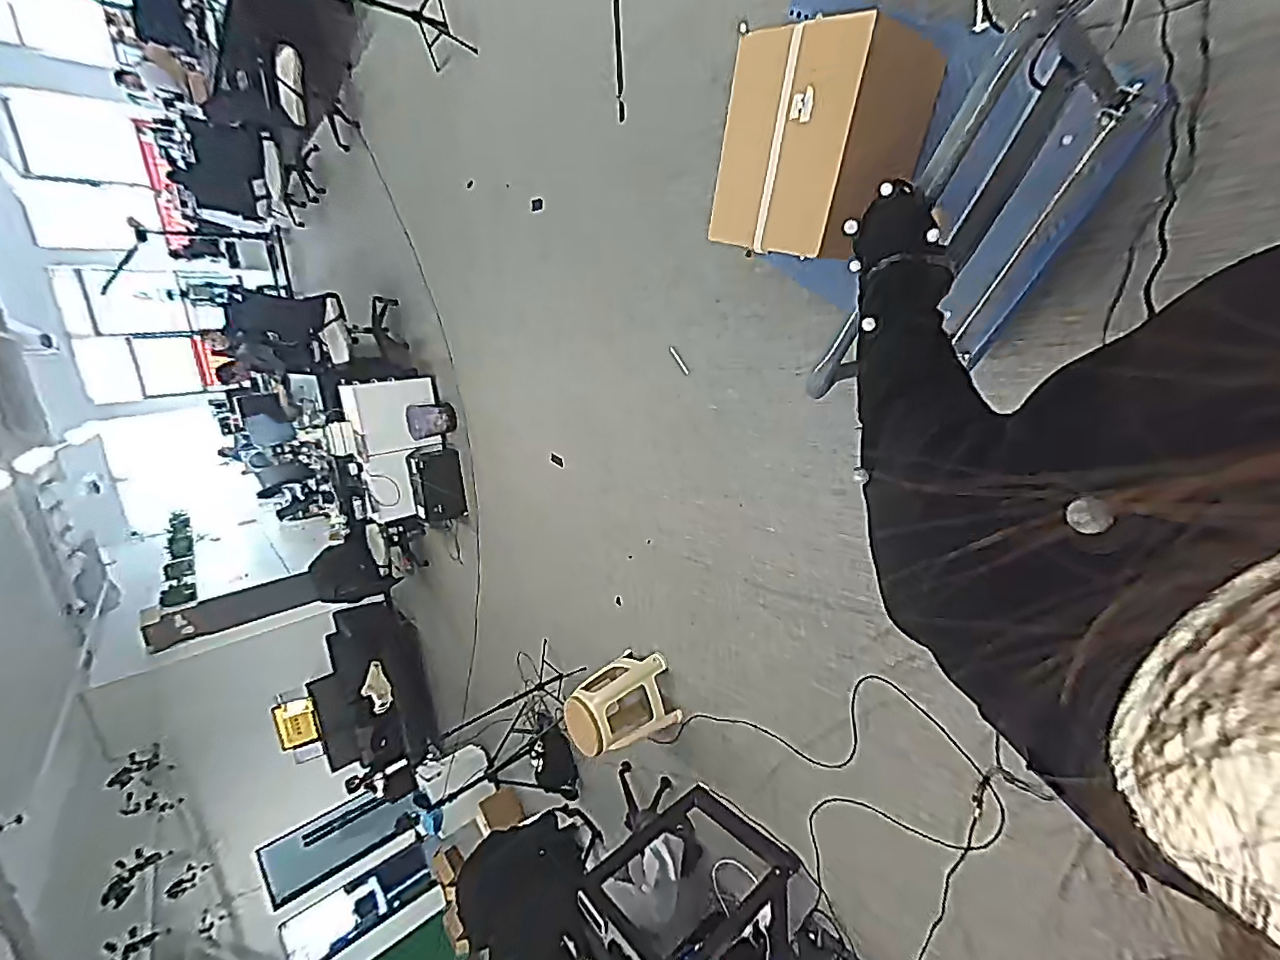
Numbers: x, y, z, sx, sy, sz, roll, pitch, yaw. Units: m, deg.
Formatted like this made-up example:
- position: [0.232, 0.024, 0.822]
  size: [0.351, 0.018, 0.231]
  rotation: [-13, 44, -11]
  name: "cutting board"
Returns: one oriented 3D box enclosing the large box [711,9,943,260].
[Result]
- position: [0.400, -0.729, 1.209]
  size: [0.320, 0.320, 0.408]
  rotation: [32, 125, 40]
  name: "large box"
